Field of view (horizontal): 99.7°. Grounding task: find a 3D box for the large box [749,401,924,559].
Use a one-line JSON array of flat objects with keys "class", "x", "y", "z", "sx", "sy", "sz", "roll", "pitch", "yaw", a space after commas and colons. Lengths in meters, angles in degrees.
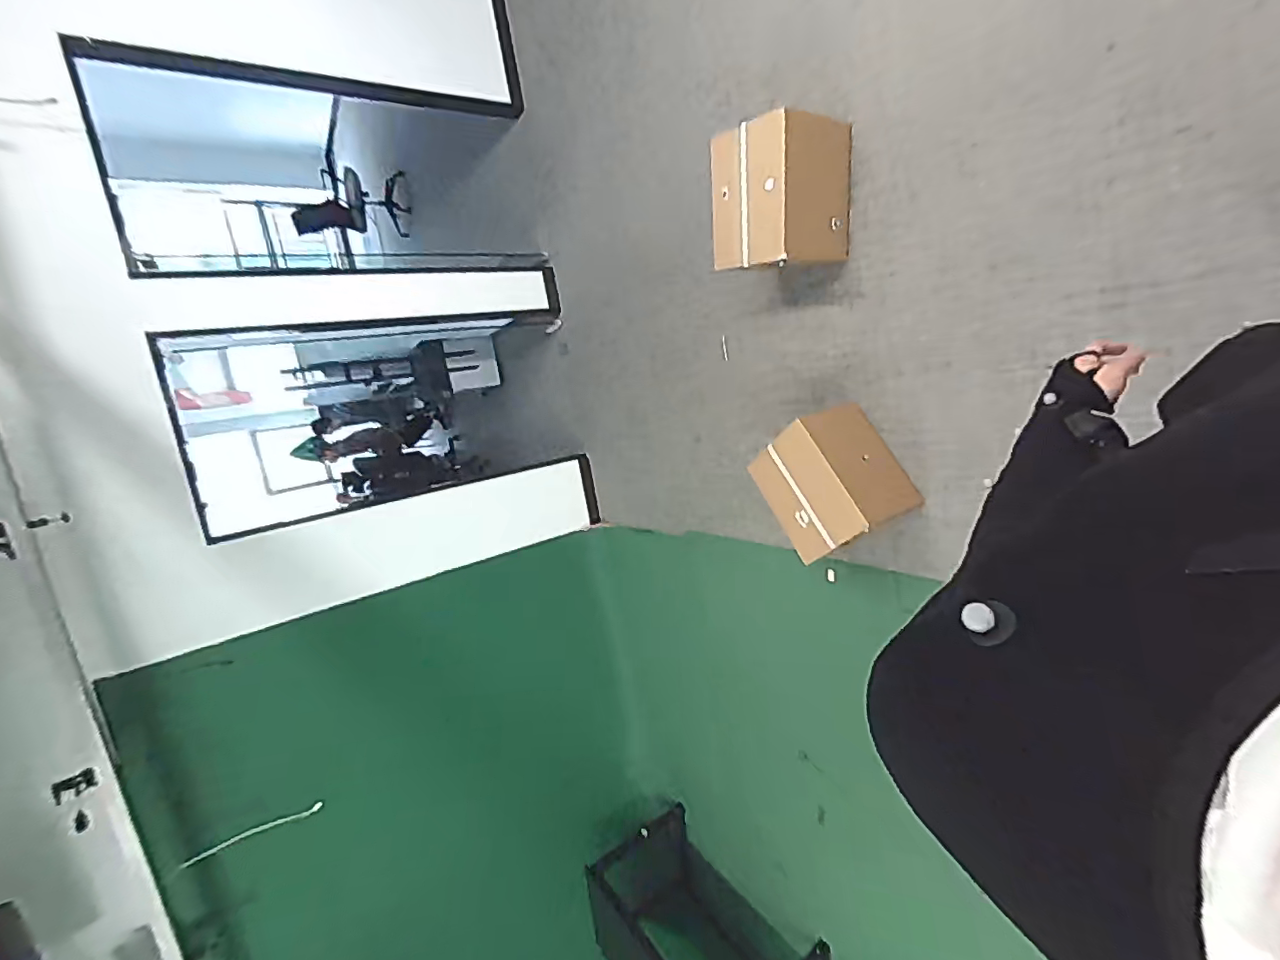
[{"class": "large box", "x": 0.657, "y": -0.007, "z": 1.844, "sx": 0.408, "sy": 0.320, "sz": 0.320, "roll": 61, "pitch": 146, "yaw": 18}]
